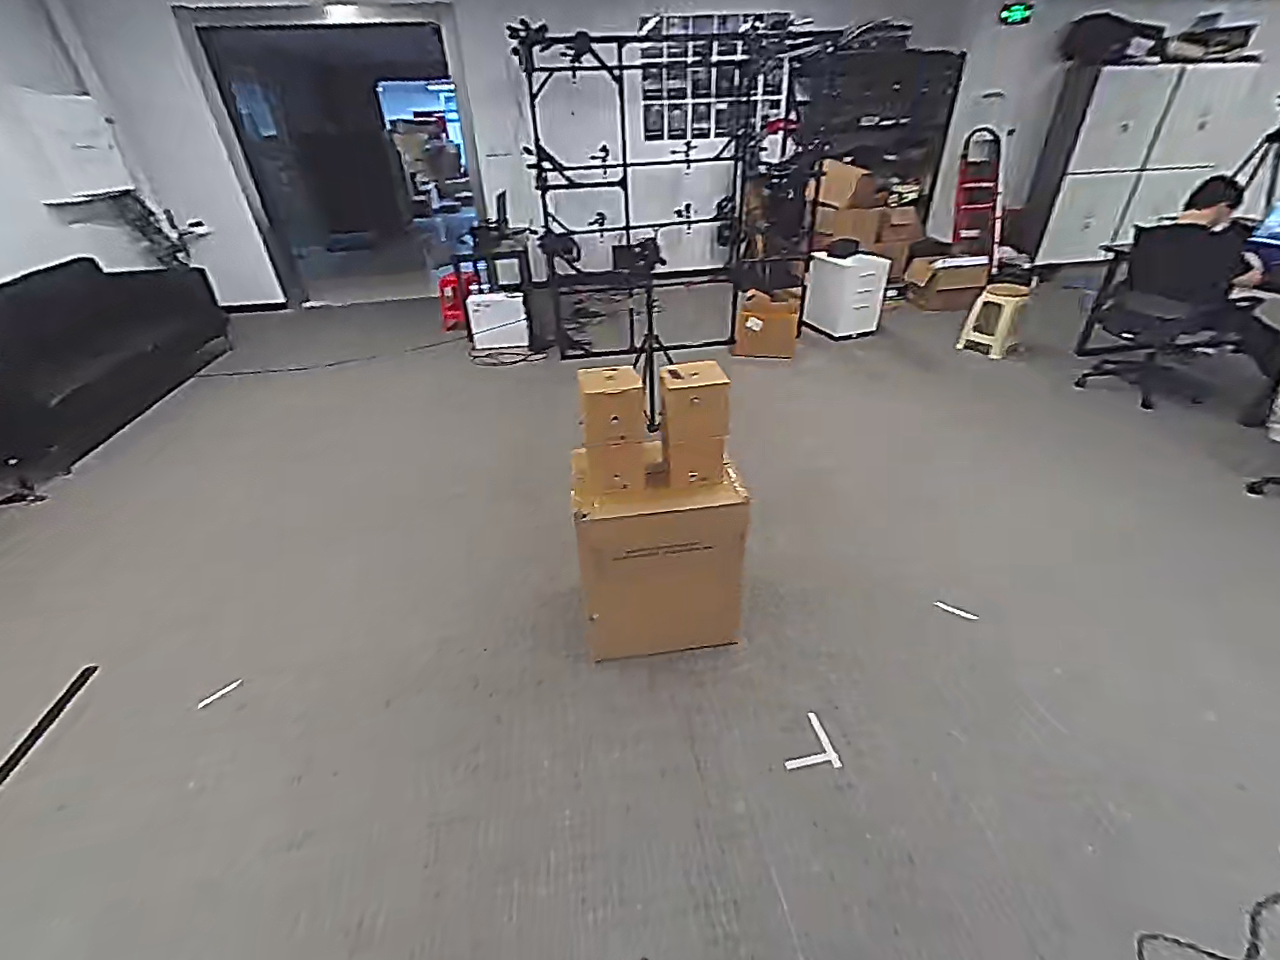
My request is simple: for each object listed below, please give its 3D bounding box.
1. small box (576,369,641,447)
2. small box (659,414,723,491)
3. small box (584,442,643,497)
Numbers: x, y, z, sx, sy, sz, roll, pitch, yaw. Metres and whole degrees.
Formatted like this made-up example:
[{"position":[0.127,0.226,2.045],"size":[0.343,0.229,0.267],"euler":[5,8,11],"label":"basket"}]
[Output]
[{"position":[-0.092,-0.206,1.581],"size":[0.168,0.176,0.179],"euler":[-8,34,-8],"label":"small box"},{"position":[0.156,-0.087,1.684],"size":[0.168,0.176,0.179],"euler":[-9,35,-4],"label":"small box"},{"position":[-0.086,-0.067,1.669],"size":[0.168,0.176,0.179],"euler":[-7,34,-7],"label":"small box"}]
